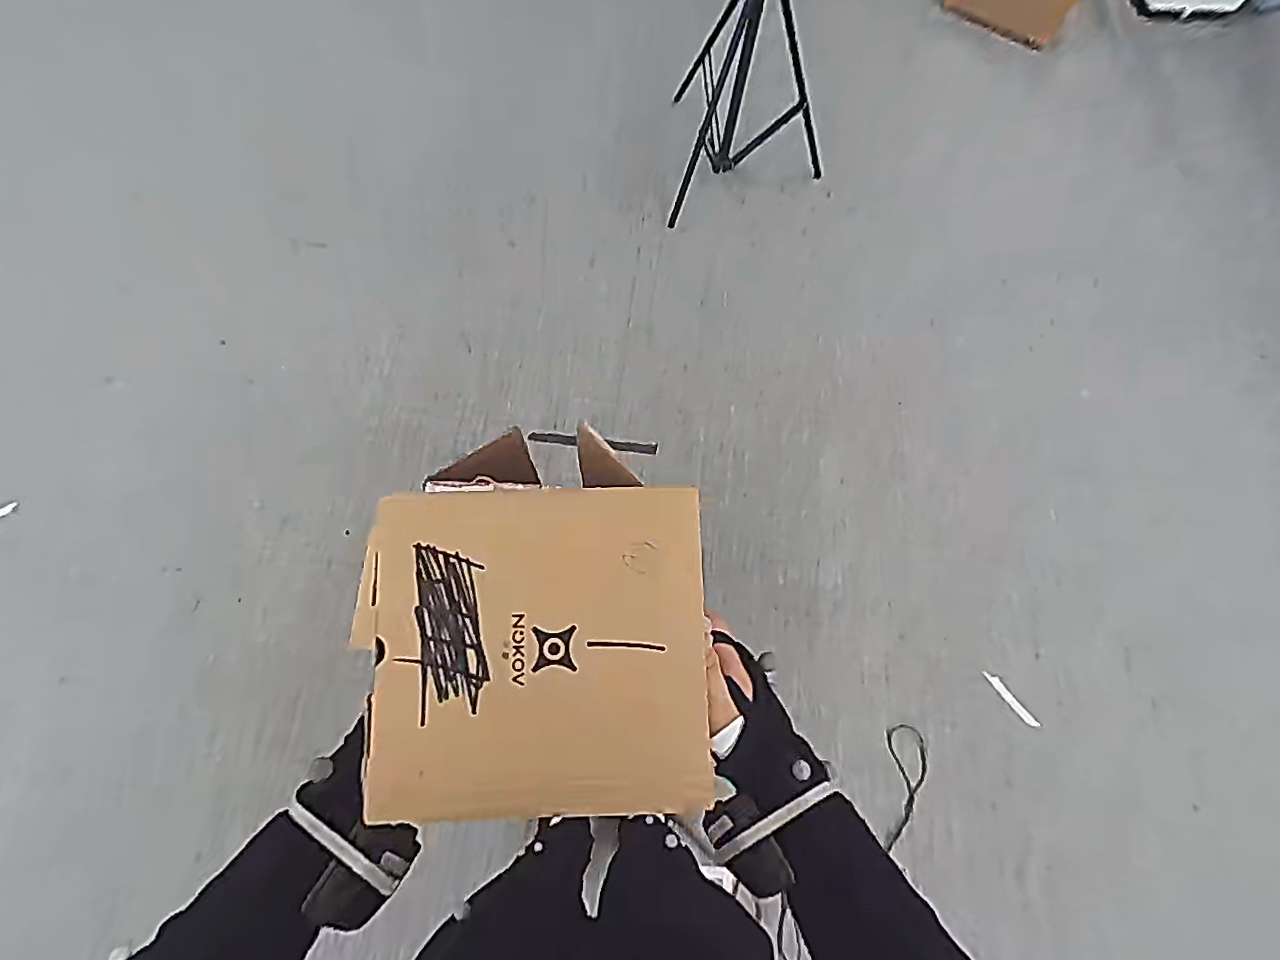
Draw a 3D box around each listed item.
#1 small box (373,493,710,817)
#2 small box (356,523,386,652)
[{"bbox_3d":[-0.051,0.101,0.365,0.179,0.176,0.168,-2,82,-1],"label":"small box"},{"bbox_3d":[-0.297,0.170,0.819,0.168,0.176,0.179,2,74,-1],"label":"small box"}]
